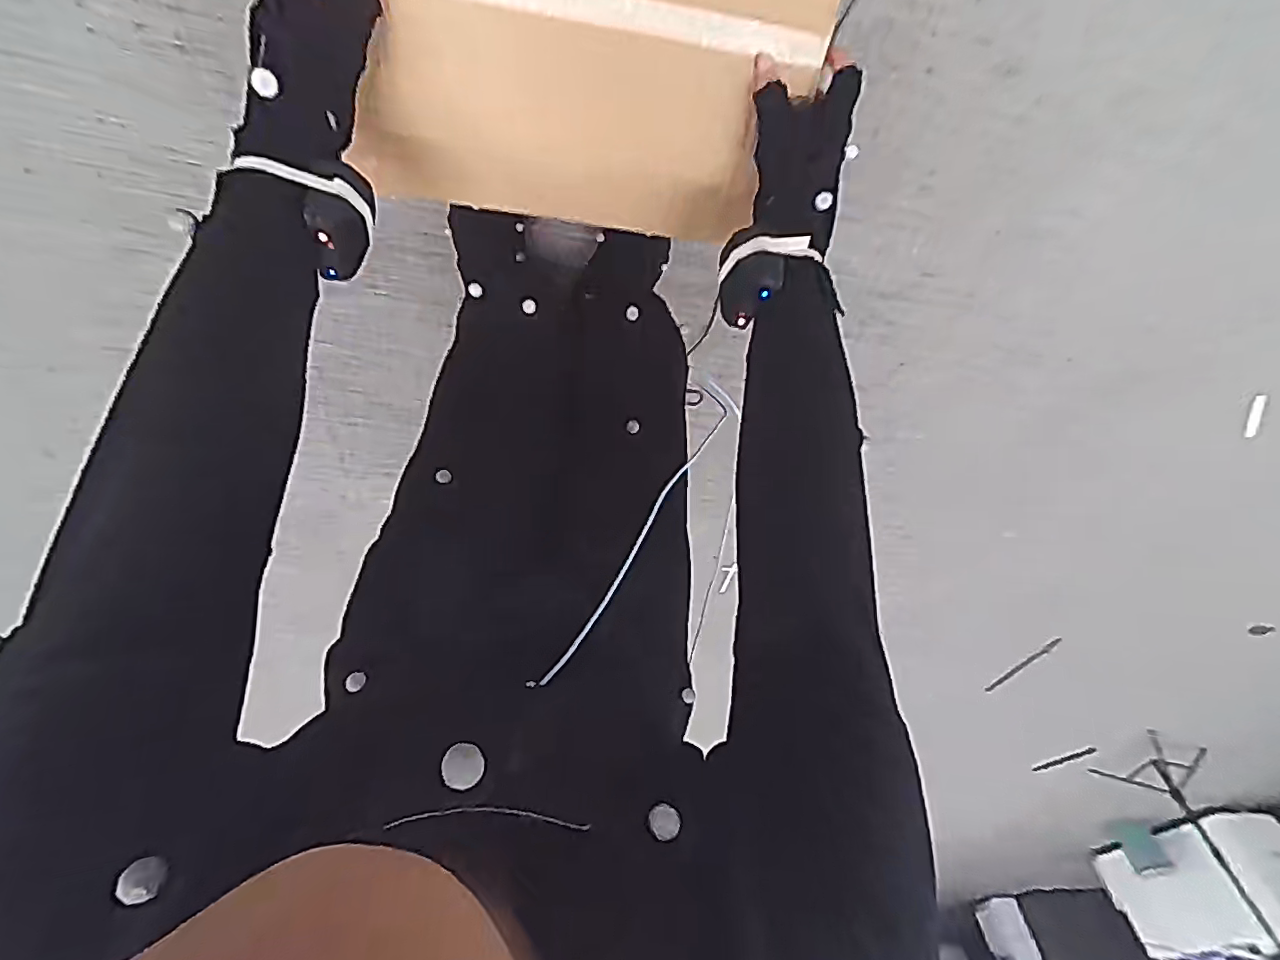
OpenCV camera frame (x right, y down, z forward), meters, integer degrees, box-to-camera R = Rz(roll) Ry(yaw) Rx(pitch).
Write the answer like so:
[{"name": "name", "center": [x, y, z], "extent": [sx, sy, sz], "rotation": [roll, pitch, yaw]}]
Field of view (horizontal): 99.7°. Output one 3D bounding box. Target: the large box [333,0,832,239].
[{"name": "large box", "center": [-0.048, -0.475, 0.554], "extent": [0.408, 0.320, 0.320], "rotation": [6, 127, -8]}]
